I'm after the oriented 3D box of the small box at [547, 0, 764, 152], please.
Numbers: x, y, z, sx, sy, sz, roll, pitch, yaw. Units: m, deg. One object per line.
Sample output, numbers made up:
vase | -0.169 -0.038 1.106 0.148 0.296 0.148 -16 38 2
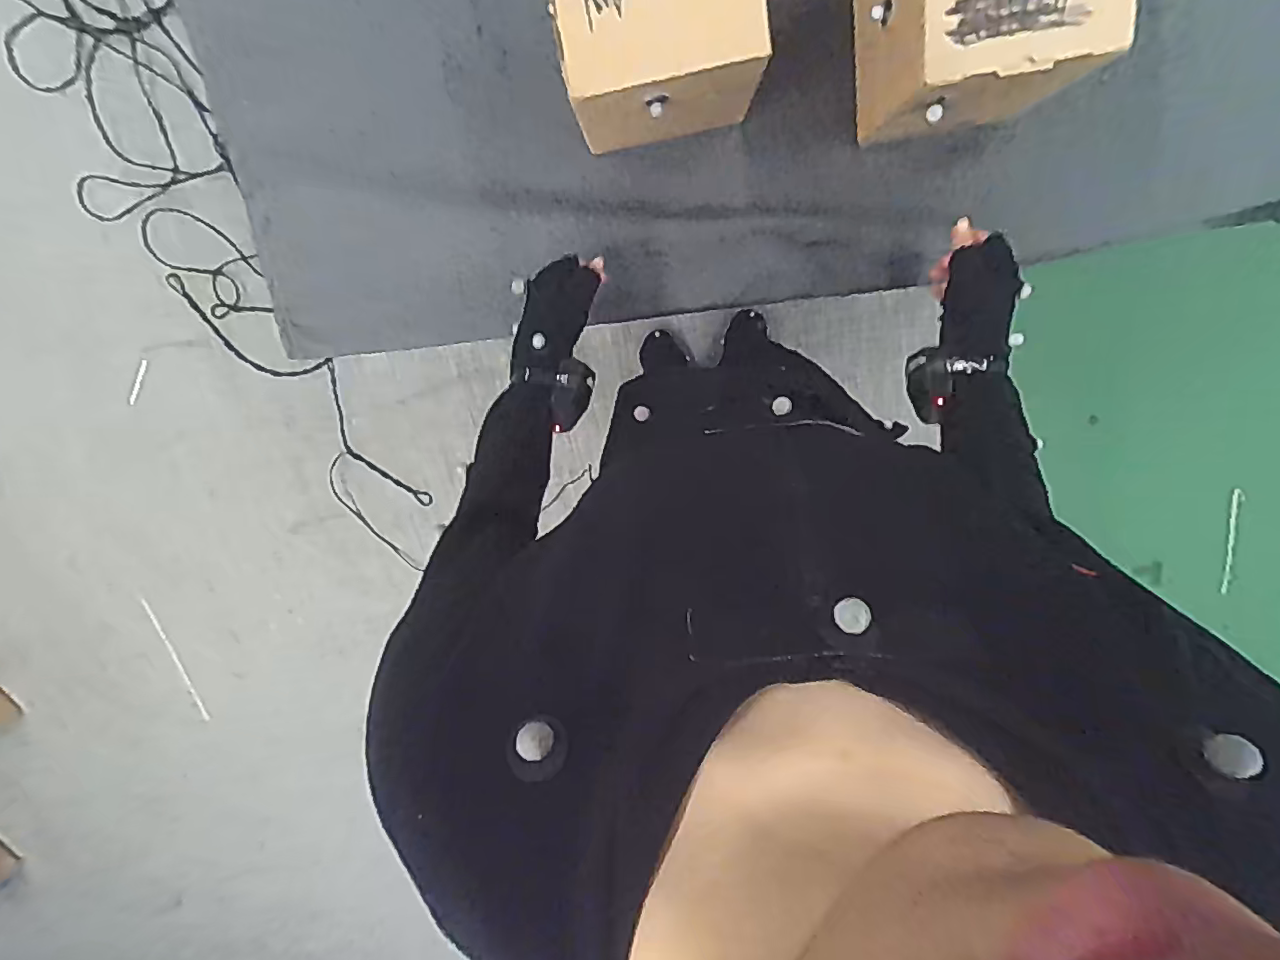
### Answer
small box | 0.009 -0.441 0.517 0.179 0.176 0.168 -10 106 5
